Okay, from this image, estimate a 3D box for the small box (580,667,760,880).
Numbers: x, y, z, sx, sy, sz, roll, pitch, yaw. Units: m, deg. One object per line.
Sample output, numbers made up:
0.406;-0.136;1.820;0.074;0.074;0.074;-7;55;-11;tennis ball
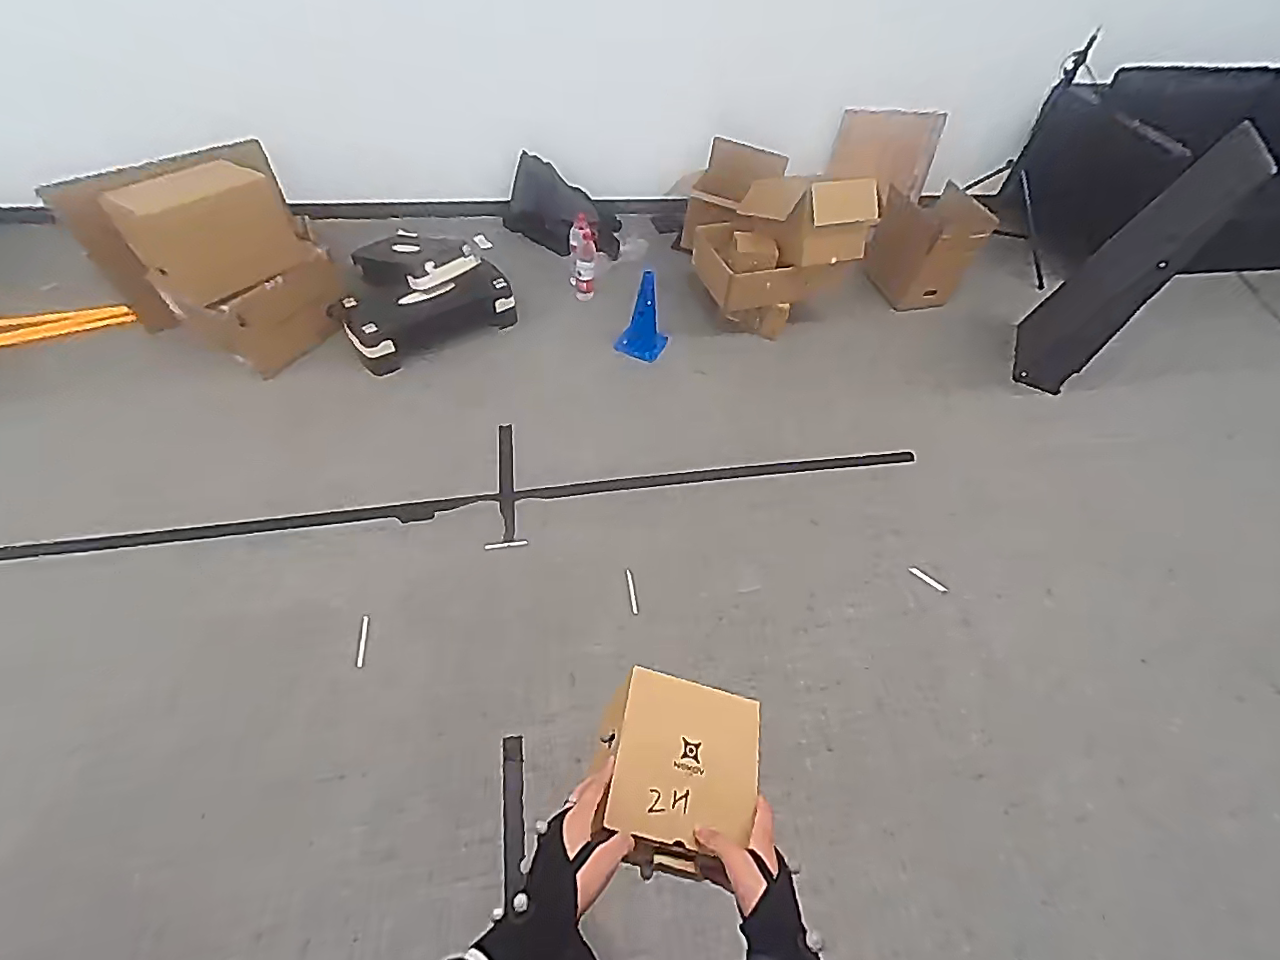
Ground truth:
0.034;0.362;0.663;0.168;0.176;0.179;18;48;-3;small box
